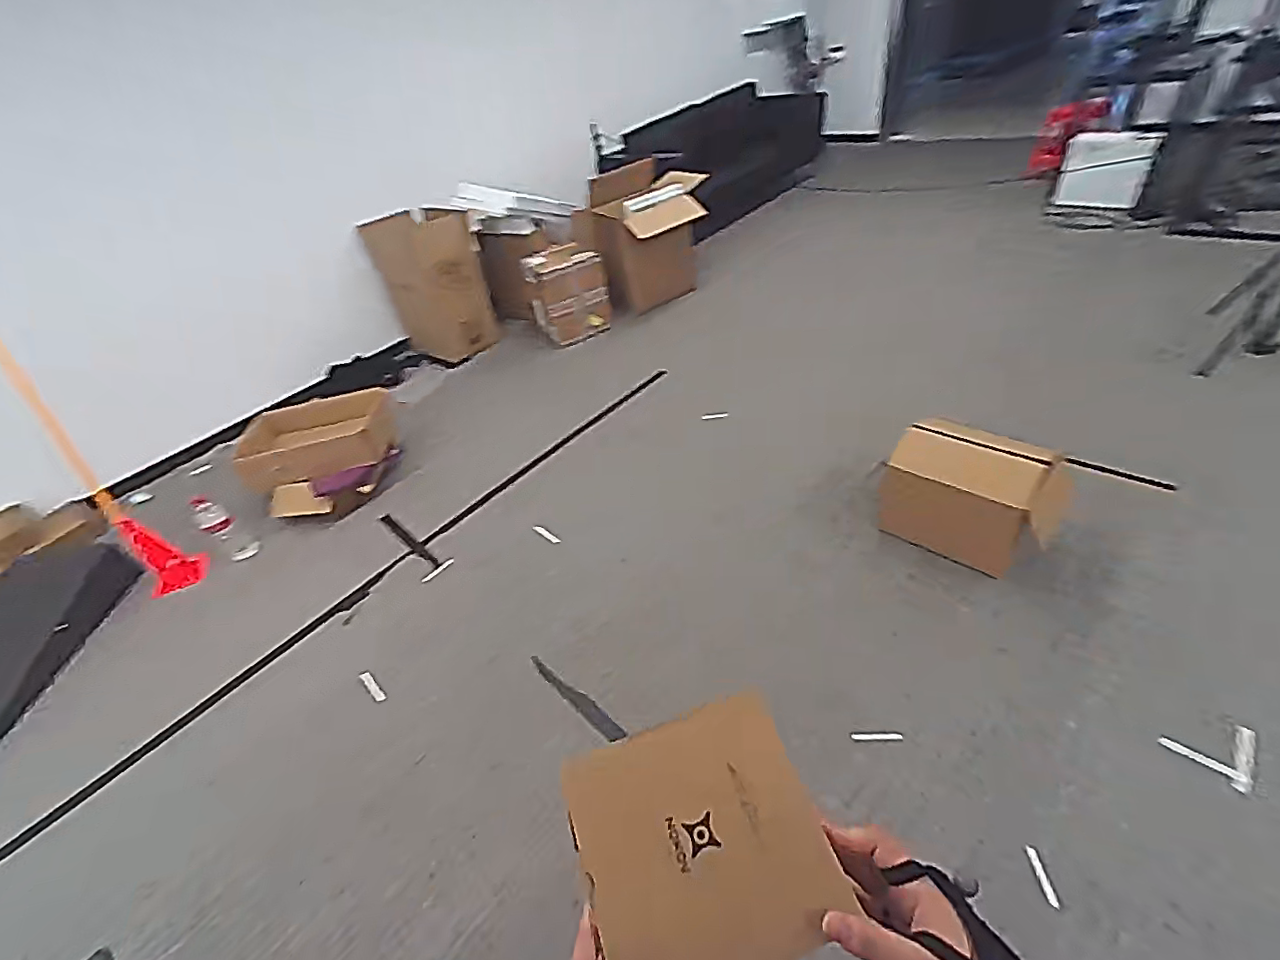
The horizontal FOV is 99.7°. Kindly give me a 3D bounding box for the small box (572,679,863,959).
[{"bbox_3d":[0.060,0.304,0.471,0.179,0.176,0.168,-20,54,-5],"label":"small box"}]
